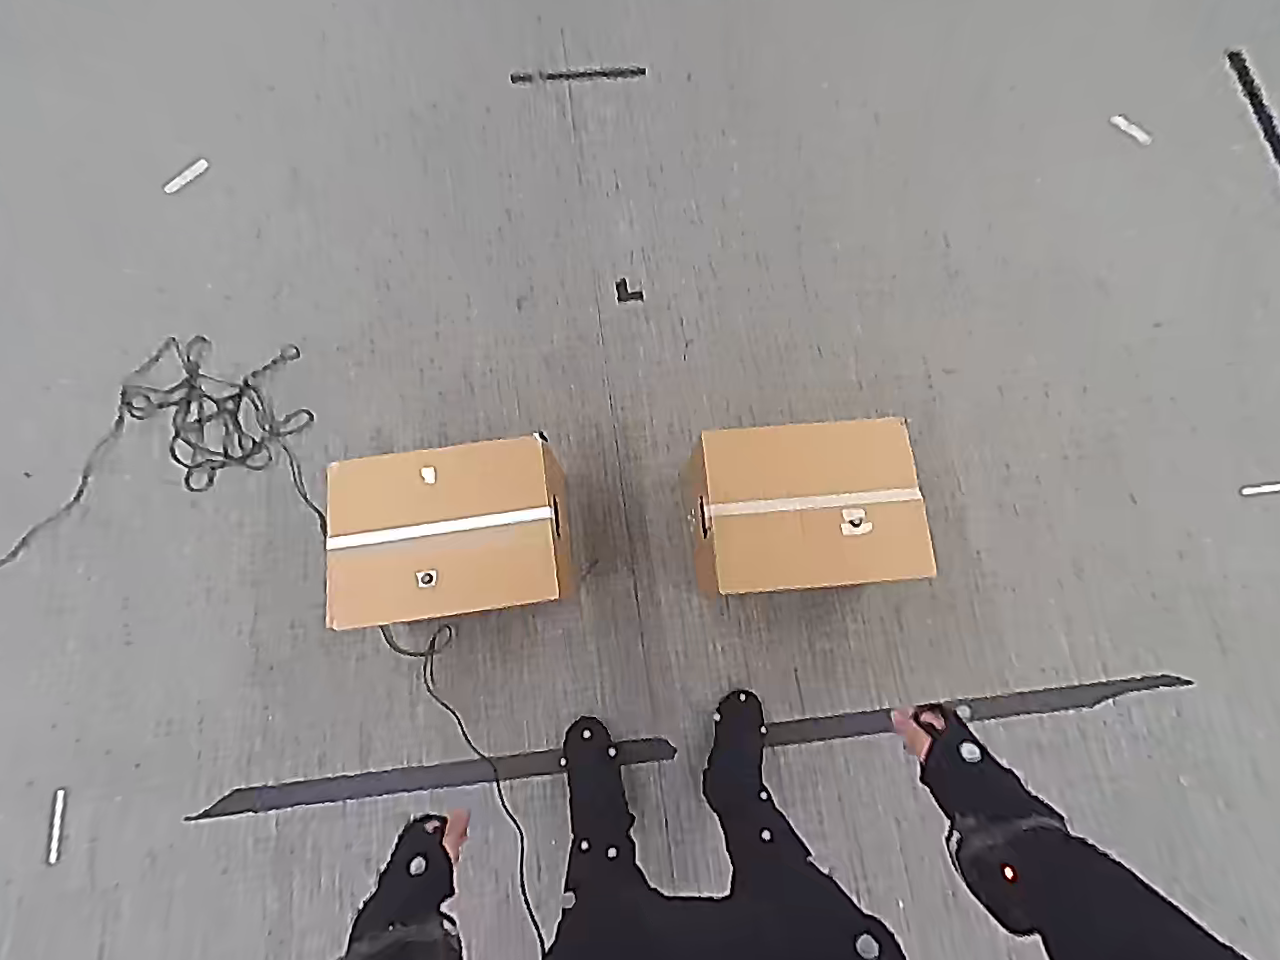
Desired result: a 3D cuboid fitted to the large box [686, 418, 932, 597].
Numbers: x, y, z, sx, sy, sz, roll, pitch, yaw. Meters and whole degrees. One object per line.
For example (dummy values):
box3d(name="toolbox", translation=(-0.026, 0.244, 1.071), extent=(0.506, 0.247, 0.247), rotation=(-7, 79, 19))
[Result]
box3d(name="large box", translation=(0.328, 0.075, 1.169), extent=(0.408, 0.320, 0.320), rotation=(-4, 77, -2))
